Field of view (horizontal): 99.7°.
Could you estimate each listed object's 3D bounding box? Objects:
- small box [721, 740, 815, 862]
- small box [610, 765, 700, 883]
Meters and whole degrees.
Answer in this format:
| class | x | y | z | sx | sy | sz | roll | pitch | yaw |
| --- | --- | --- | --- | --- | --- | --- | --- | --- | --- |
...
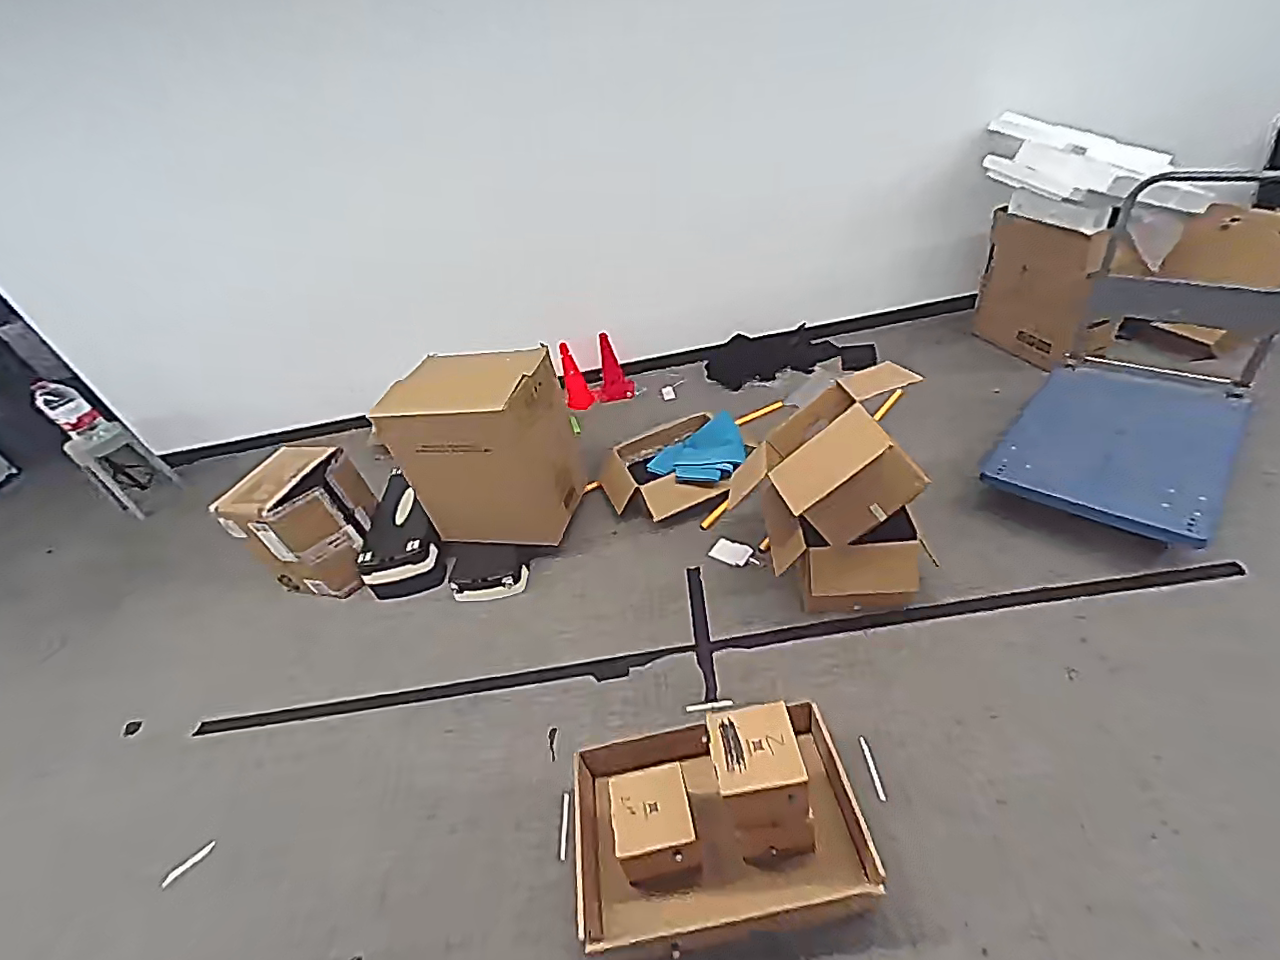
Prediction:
| class | x | y | z | sx | sy | sz | roll | pitch | yaw |
| --- | --- | --- | --- | --- | --- | --- | --- | --- | --- |
| small box | 0.290 | 0.735 | 1.239 | 0.168 | 0.176 | 0.179 | -14 | 38 | 2 |
| small box | 0.037 | 0.791 | 1.243 | 0.179 | 0.176 | 0.168 | -13 | 37 | -1 |
